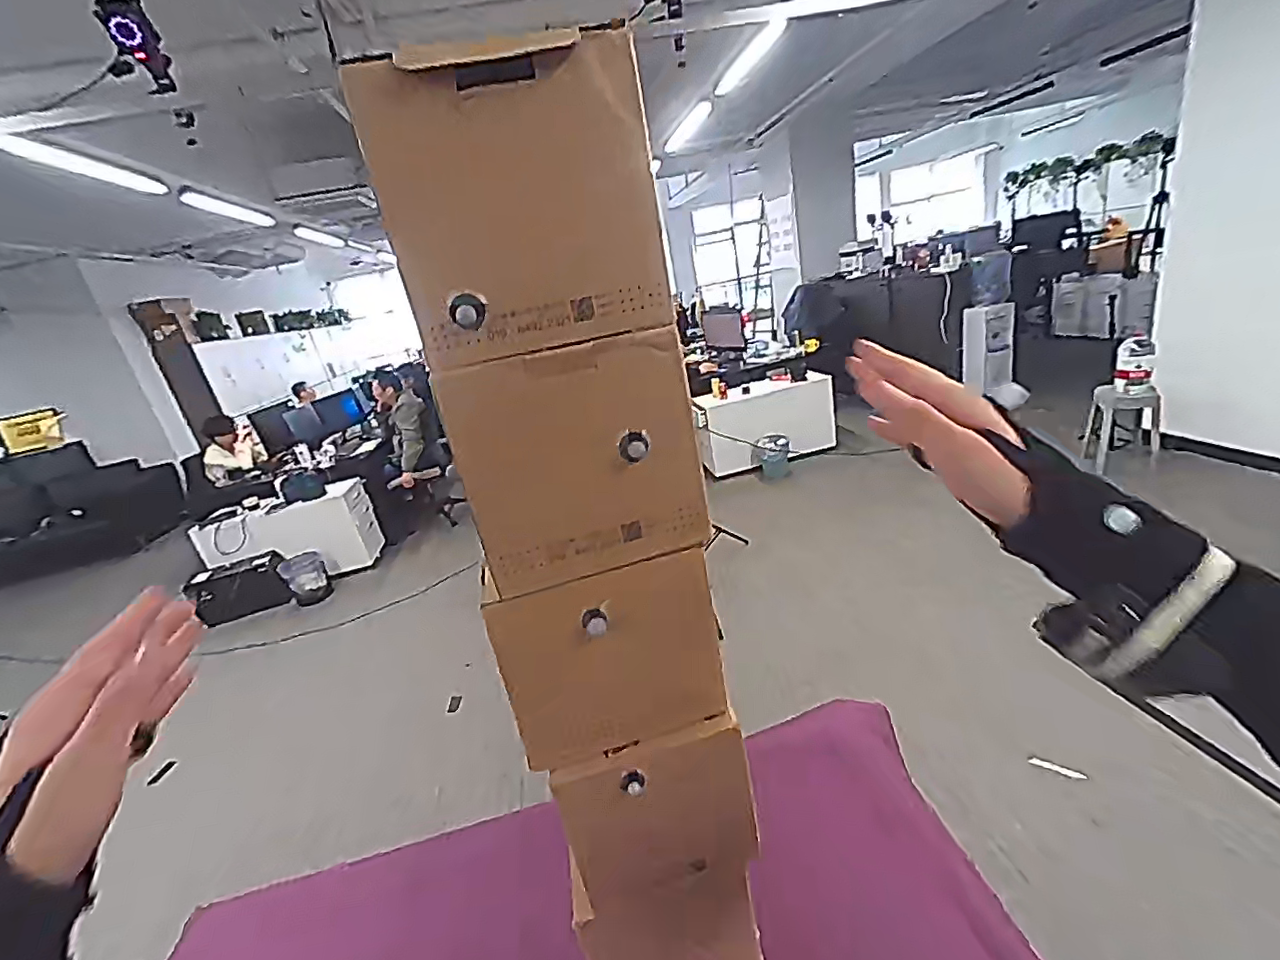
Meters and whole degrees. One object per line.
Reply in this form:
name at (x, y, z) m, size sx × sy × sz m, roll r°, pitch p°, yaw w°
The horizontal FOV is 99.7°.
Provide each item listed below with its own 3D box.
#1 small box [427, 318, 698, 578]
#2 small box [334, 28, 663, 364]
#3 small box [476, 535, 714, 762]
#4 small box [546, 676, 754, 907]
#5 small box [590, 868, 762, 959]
small box at (-0.061, -0.033, 0.454) m, size 0.168 × 0.176 × 0.179 m, roll -14°, pitch 19°, yaw -10°
small box at (-0.089, -0.188, 0.405) m, size 0.168 × 0.176 × 0.179 m, roll -14°, pitch 19°, yaw -8°
small box at (-0.038, 0.119, 0.504) m, size 0.179 × 0.176 × 0.168 m, roll -15°, pitch 20°, yaw -8°
small box at (0.002, 0.271, 0.550) m, size 0.168 × 0.176 × 0.179 m, roll -14°, pitch 20°, yaw -7°
small box at (0.046, 0.576, 0.659) m, size 0.179 × 0.176 × 0.168 m, roll -15°, pitch 20°, yaw -7°
